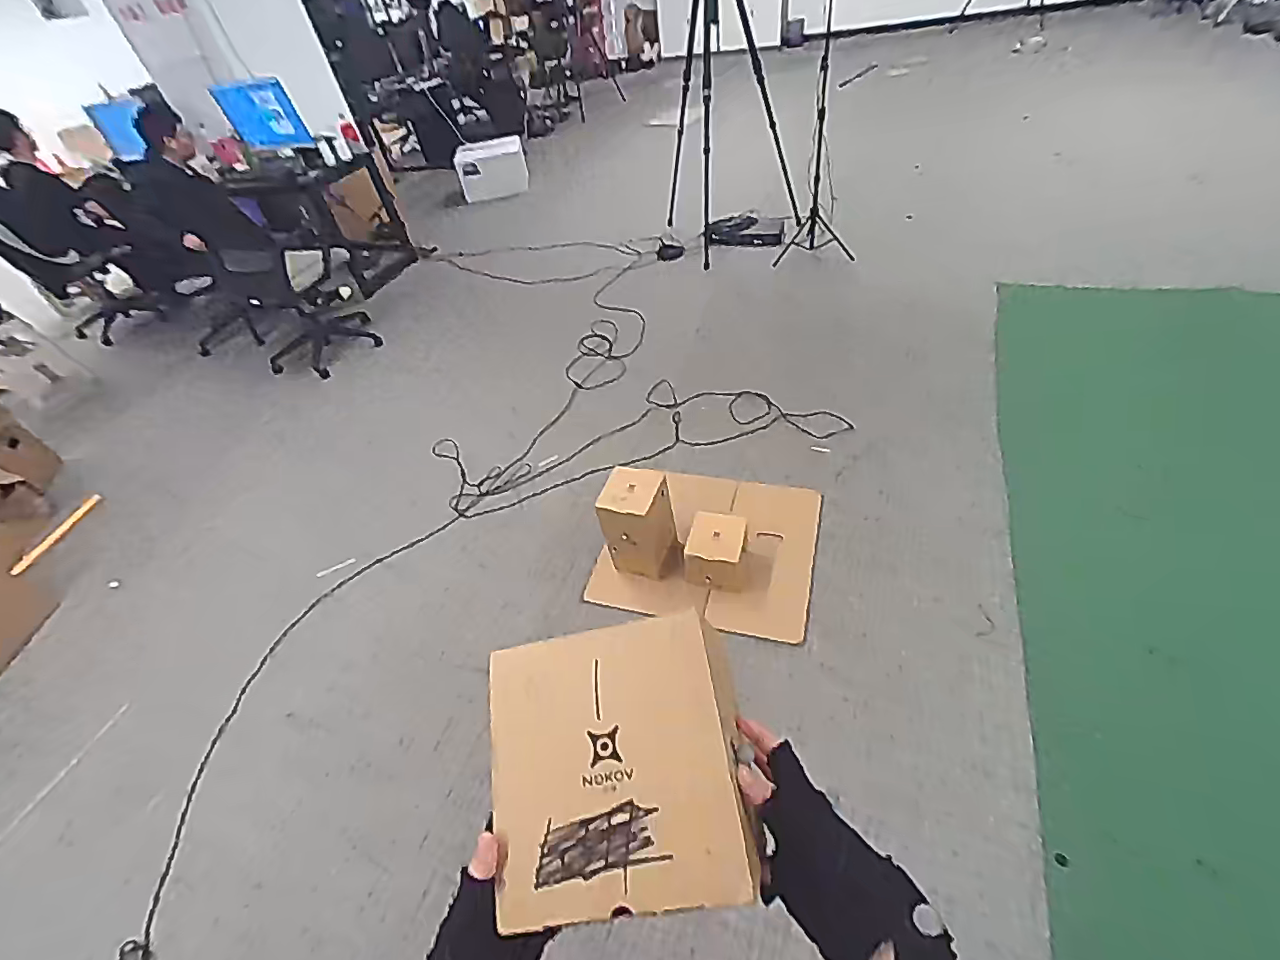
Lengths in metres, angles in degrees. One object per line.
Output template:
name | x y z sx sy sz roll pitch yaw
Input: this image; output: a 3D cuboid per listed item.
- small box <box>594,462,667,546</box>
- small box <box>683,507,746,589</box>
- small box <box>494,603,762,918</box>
small box | -0.021 0.073 1.654 0.168 0.176 0.179 9 49 21
small box | 0.238 0.213 1.700 0.168 0.176 0.179 7 49 17
small box | -0.002 0.213 0.438 0.168 0.176 0.179 -14 64 9
